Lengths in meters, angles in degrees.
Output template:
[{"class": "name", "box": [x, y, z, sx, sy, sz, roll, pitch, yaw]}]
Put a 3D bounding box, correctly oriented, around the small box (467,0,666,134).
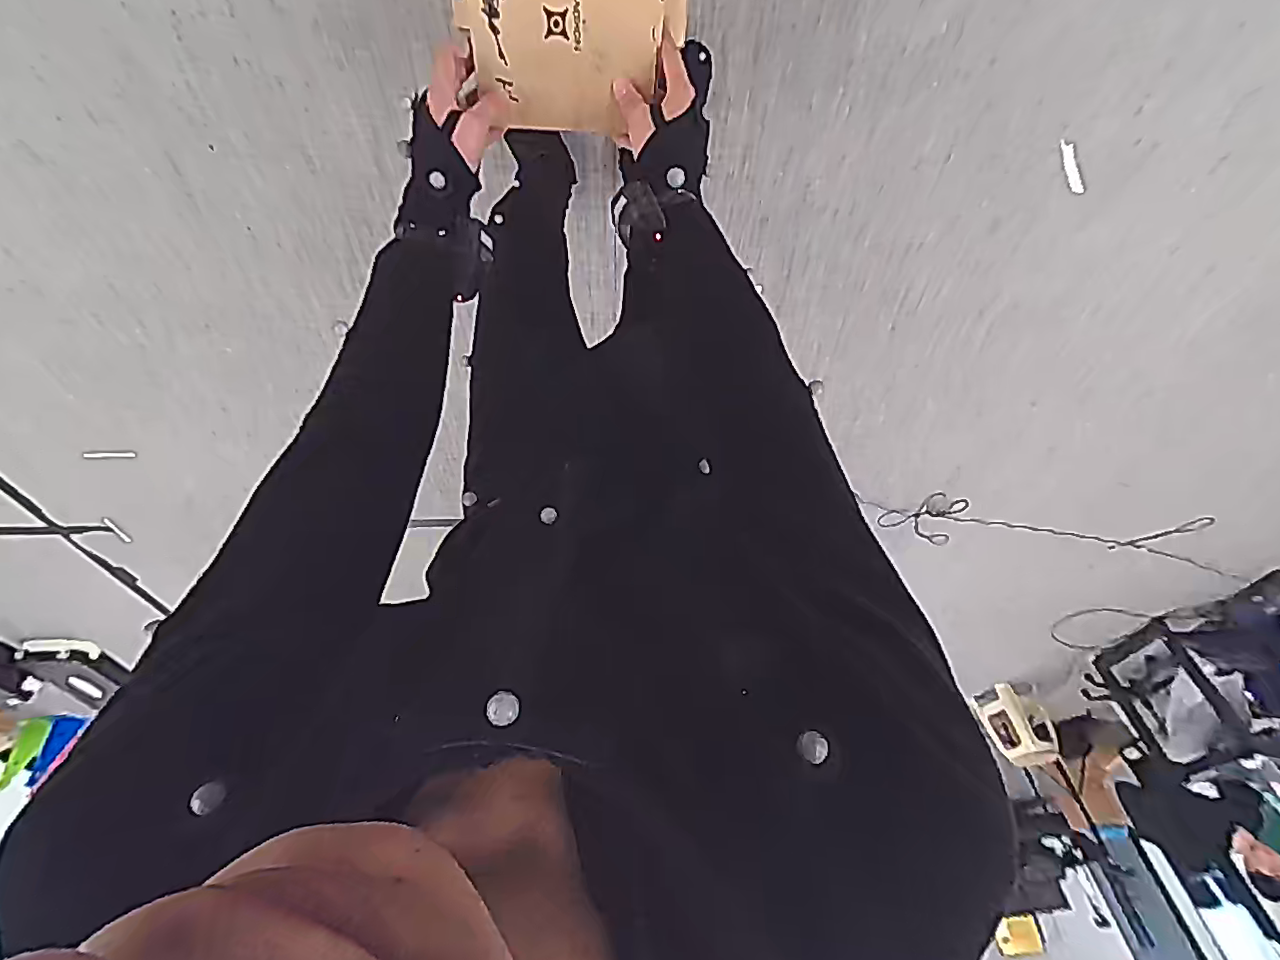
[{"class": "small box", "box": [-0.072, -0.469, 0.541, 0.179, 0.176, 0.168, 0, 136, -5]}]
